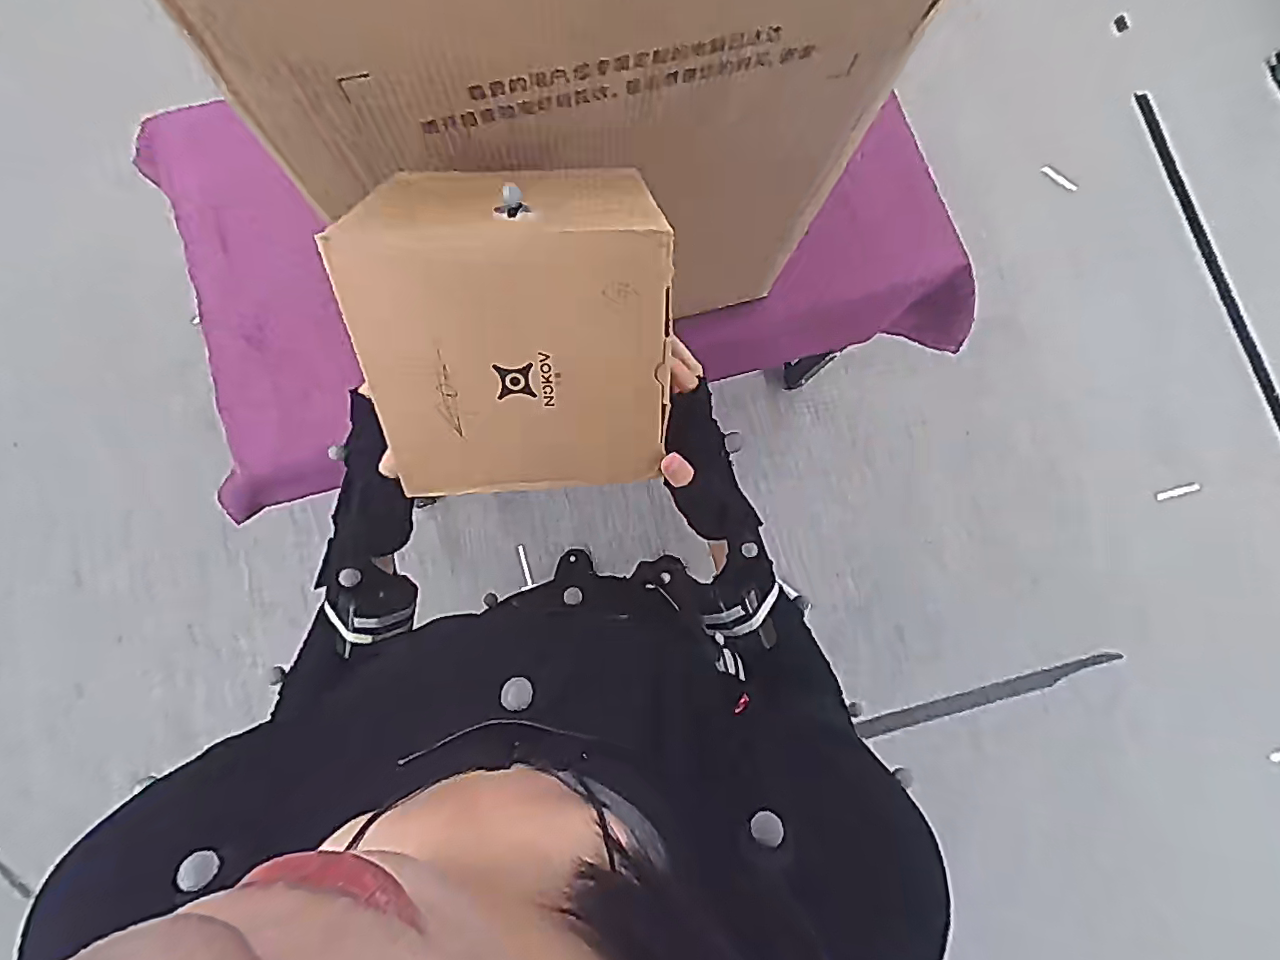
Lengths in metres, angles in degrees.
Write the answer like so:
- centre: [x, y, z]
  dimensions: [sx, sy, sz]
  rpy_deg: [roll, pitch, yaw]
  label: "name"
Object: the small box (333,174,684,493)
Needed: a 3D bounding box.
- centre: [-0.073, -0.110, 0.378]
  dimensions: [0.179, 0.176, 0.168]
  rpy_deg: [-4, 126, -4]
  label: "small box"
